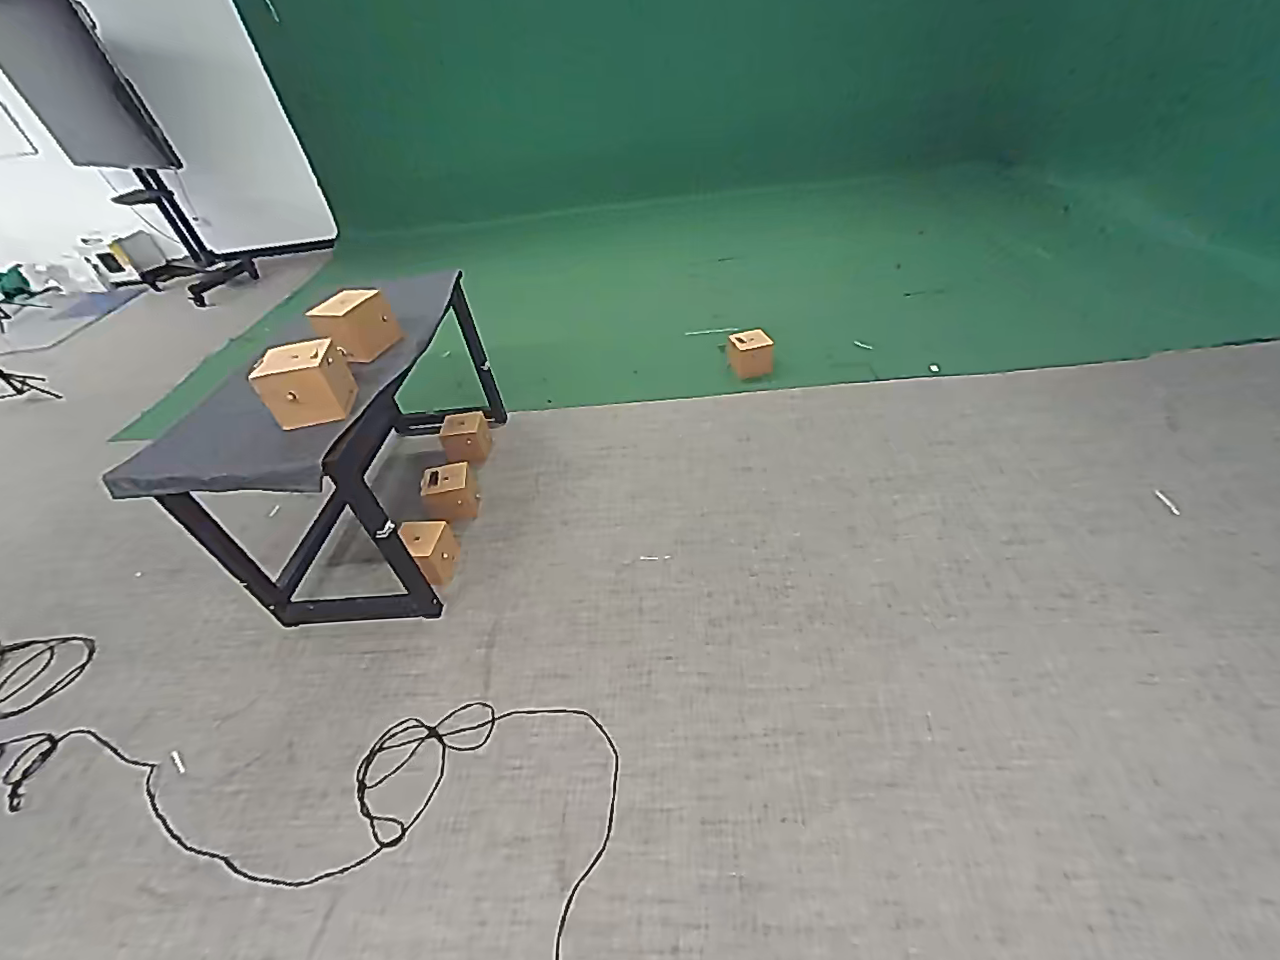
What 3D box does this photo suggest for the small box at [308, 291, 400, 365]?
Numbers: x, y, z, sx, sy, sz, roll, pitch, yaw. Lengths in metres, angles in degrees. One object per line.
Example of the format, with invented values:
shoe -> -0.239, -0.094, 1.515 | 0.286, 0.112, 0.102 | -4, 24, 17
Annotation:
small box -> -0.911, -0.493, 1.747 | 0.168, 0.176, 0.179 | 7, 46, 22

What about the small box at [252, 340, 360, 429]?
small box -> -0.910, -0.259, 1.490 | 0.179, 0.176, 0.168 | -13, 42, -4

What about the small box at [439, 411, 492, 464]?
small box -> -0.793, -0.193, 2.481 | 0.179, 0.176, 0.168 | -8, 42, 2

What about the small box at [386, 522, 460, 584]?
small box -> -0.786, 0.269, 1.982 | 0.179, 0.176, 0.168 | -2, 43, 9

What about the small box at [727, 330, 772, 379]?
small box -> 0.549, -0.630, 2.720 | 0.179, 0.176, 0.168 | -14, 43, -7
